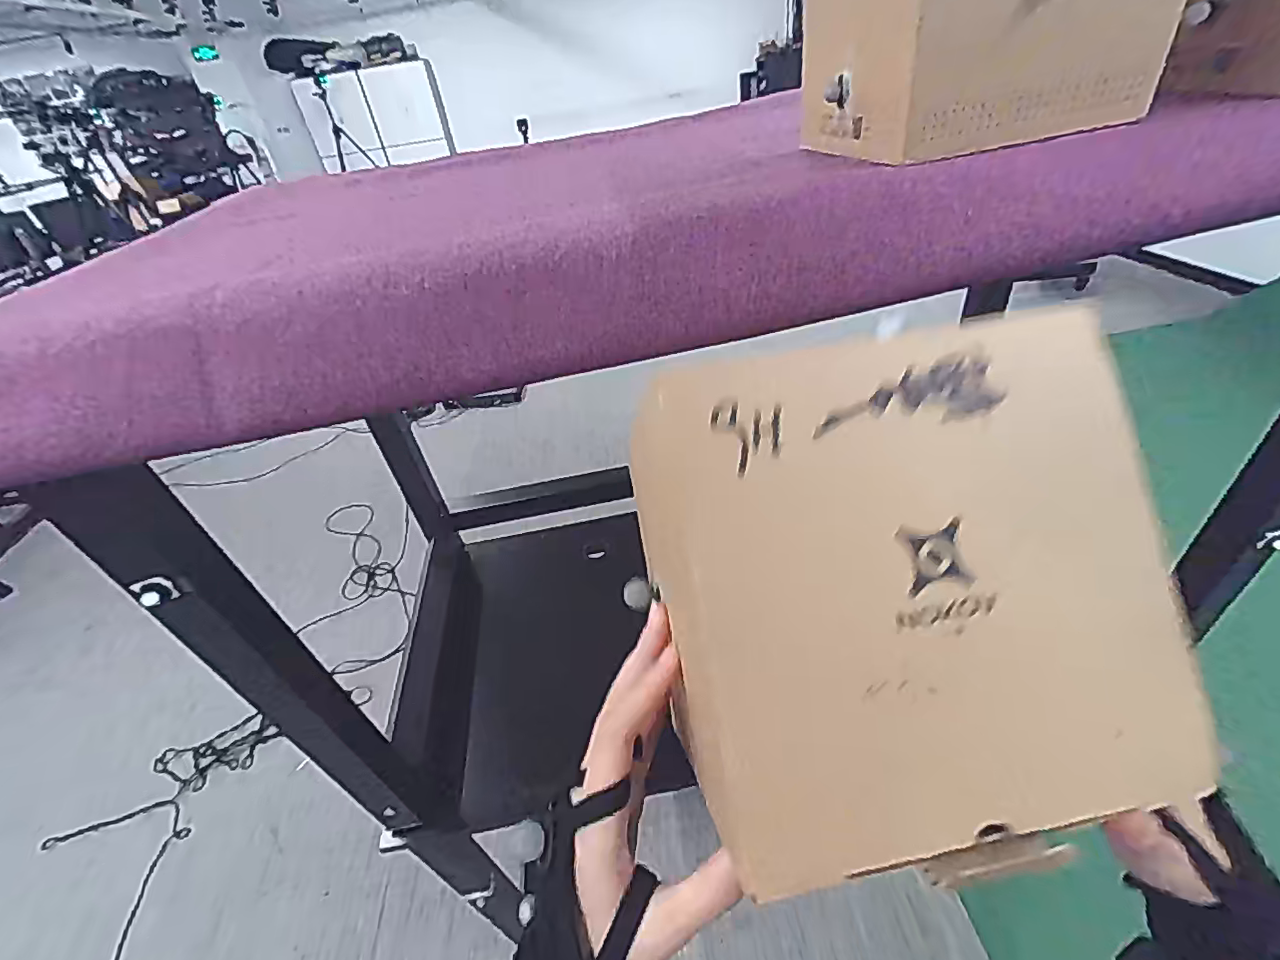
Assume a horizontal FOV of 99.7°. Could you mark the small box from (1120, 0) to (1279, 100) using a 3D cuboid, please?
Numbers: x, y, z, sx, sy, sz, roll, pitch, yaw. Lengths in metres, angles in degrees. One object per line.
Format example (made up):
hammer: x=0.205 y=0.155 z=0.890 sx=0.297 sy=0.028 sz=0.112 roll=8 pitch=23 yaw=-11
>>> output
small box: x=0.505 y=-0.386 z=0.377 sx=0.179 sy=0.176 sz=0.168 roll=-11 pitch=38 yaw=0

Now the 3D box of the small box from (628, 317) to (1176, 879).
small box: x=0.089 y=0.042 z=0.268 sx=0.168 sy=0.179 sz=0.176 roll=-9 pitch=-5 yaw=-5
